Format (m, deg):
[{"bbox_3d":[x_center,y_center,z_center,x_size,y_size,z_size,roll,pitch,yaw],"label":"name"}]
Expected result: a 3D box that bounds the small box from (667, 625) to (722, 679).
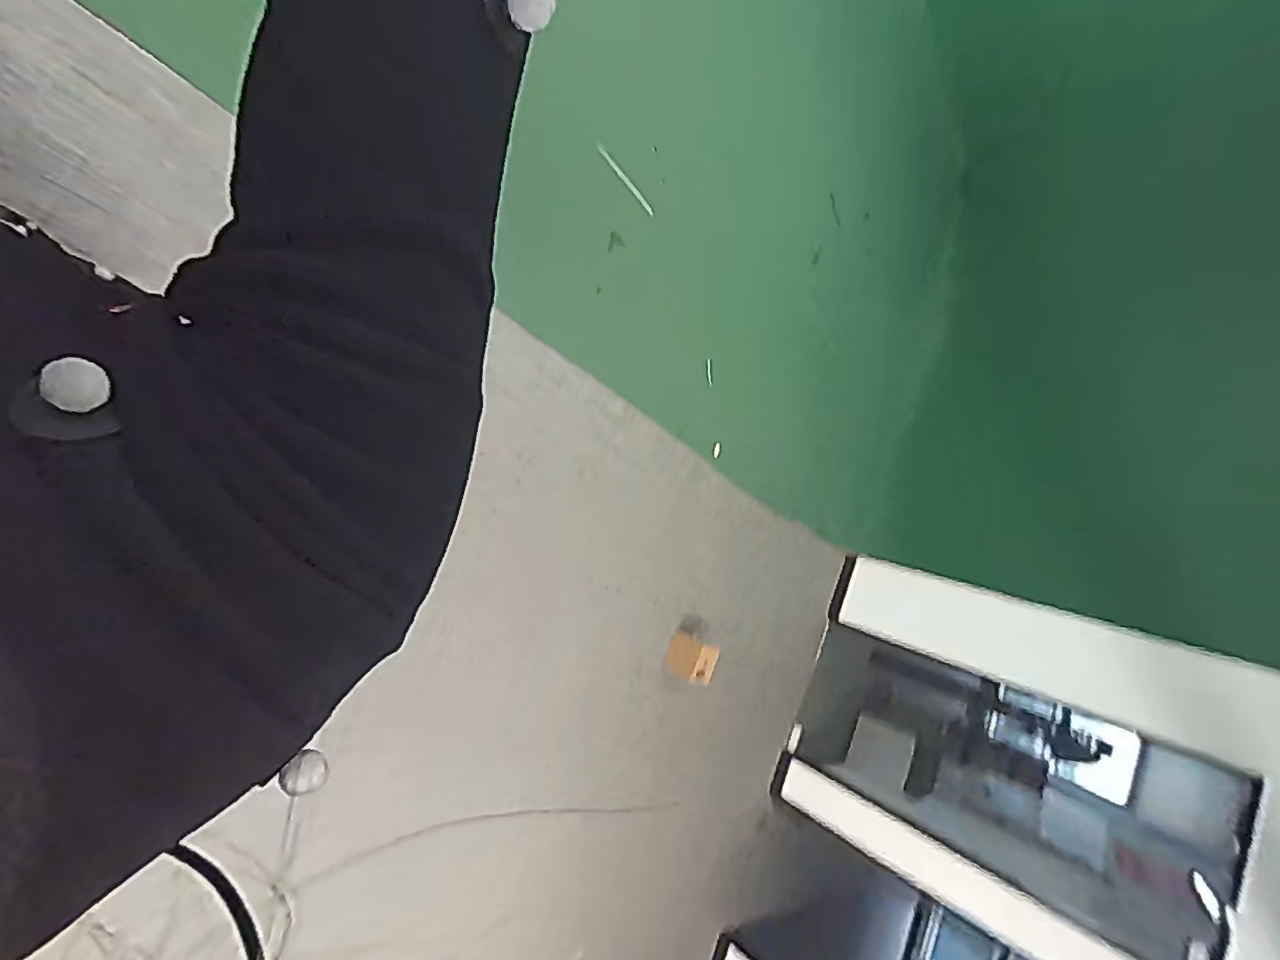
[{"bbox_3d":[0.252,0.804,2.529,0.168,0.176,0.179,32,75,-46],"label":"small box"}]
